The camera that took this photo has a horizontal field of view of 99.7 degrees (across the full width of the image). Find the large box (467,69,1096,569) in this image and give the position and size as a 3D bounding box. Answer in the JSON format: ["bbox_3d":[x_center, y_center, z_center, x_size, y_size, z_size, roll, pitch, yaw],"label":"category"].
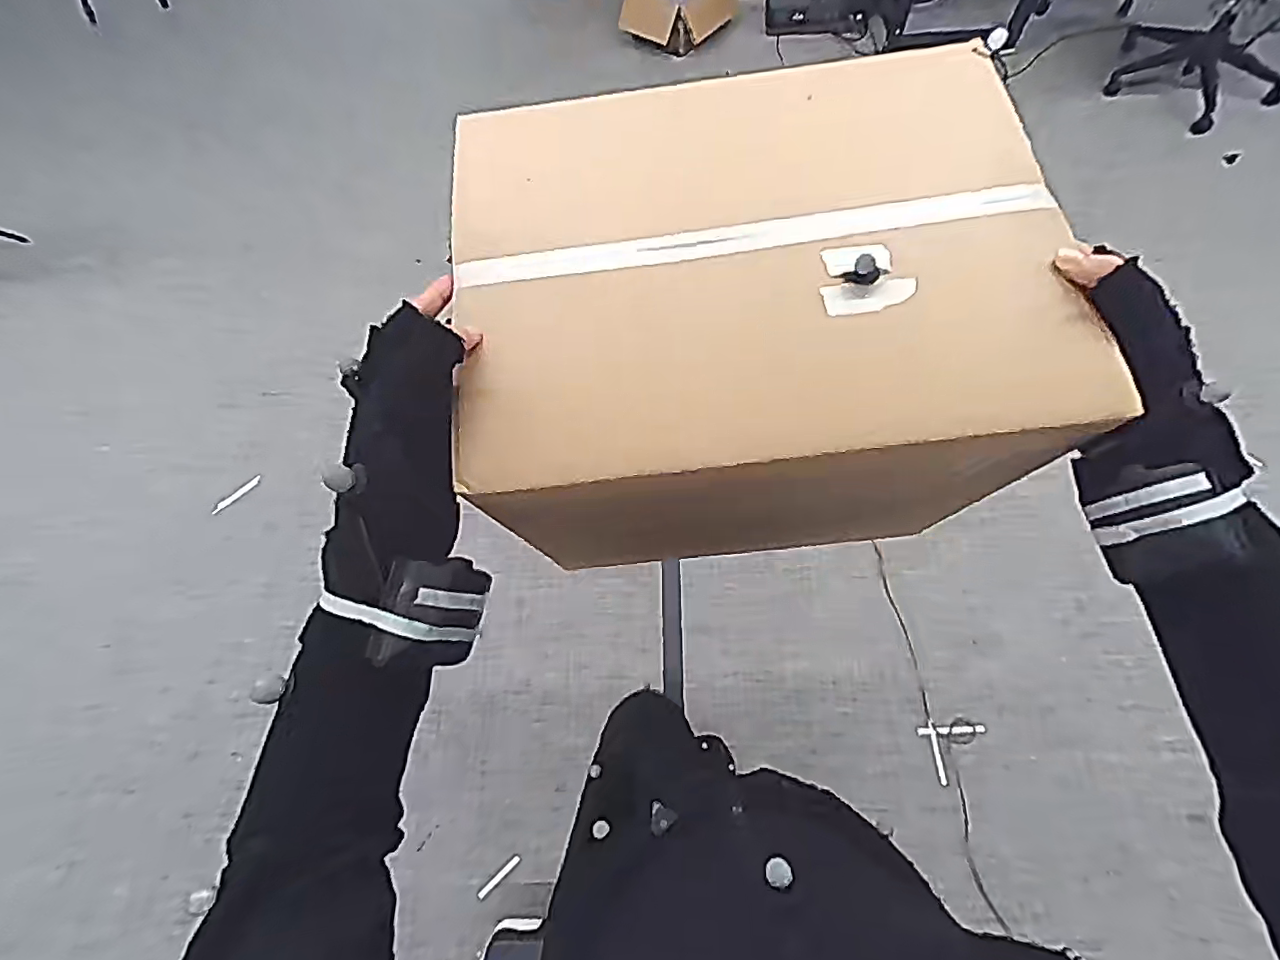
[{"bbox_3d":[0.080,-0.112,0.528,0.408,0.320,0.320,-7,72,2],"label":"large box"}]
